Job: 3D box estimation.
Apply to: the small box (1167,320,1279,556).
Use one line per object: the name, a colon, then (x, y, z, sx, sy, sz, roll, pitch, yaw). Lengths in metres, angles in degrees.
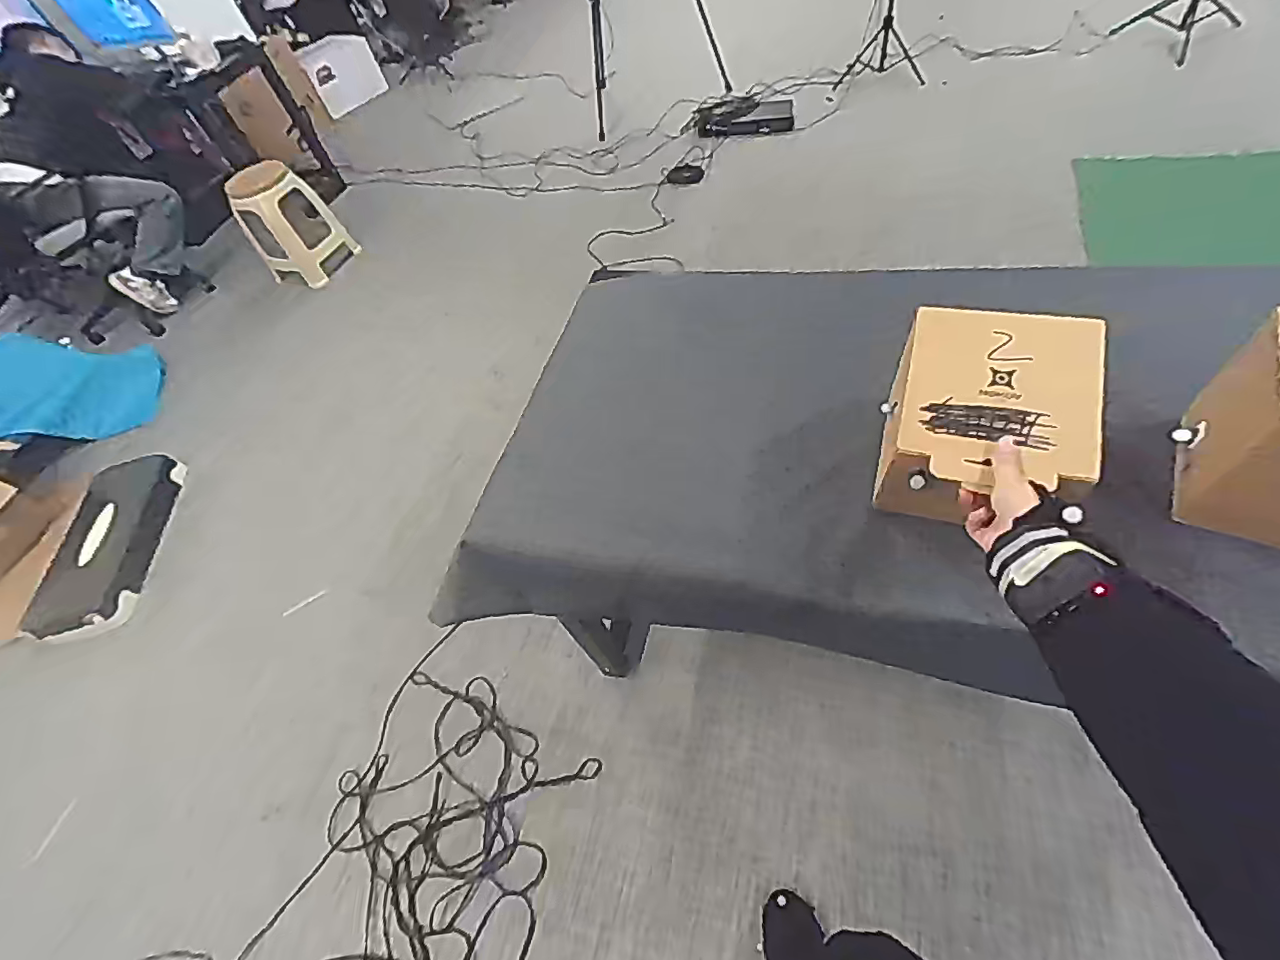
small box: (0.684, -0.028, 0.533, 0.179, 0.176, 0.168, 20, 60, 26)
